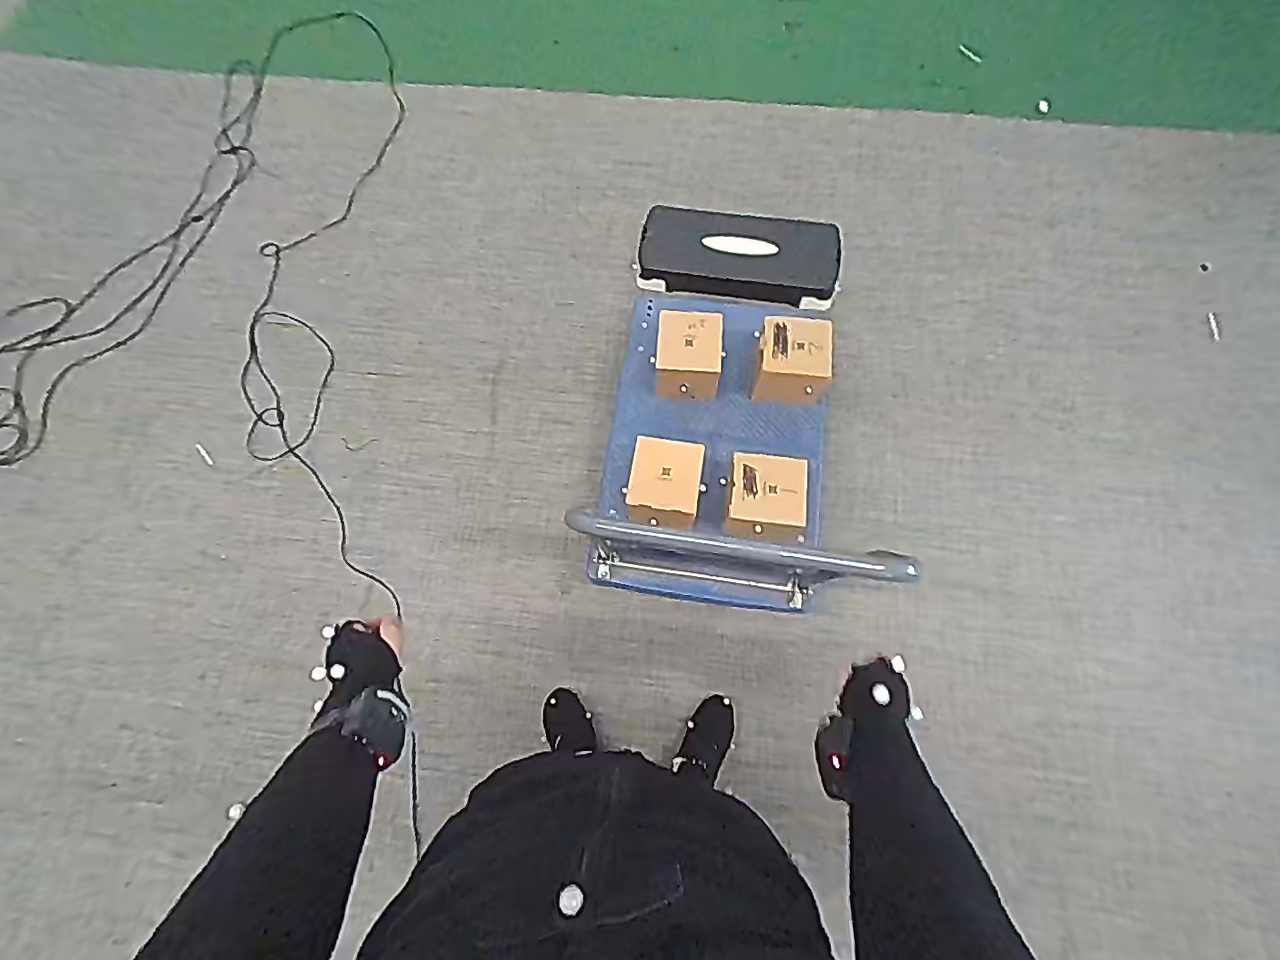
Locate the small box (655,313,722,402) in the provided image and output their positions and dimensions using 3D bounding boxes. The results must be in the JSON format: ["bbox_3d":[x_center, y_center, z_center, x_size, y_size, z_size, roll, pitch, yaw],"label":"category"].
[{"bbox_3d":[0.128,-0.324,1.461,0.168,0.176,0.179,5,72,2],"label":"small box"}]

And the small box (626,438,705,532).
[{"bbox_3d":[0.060,0.017,1.348,0.168,0.176,0.179,9,72,3],"label":"small box"}]

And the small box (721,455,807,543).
[{"bbox_3d":[0.299,0.052,1.330,0.179,0.176,0.168,7,72,3],"label":"small box"}]
